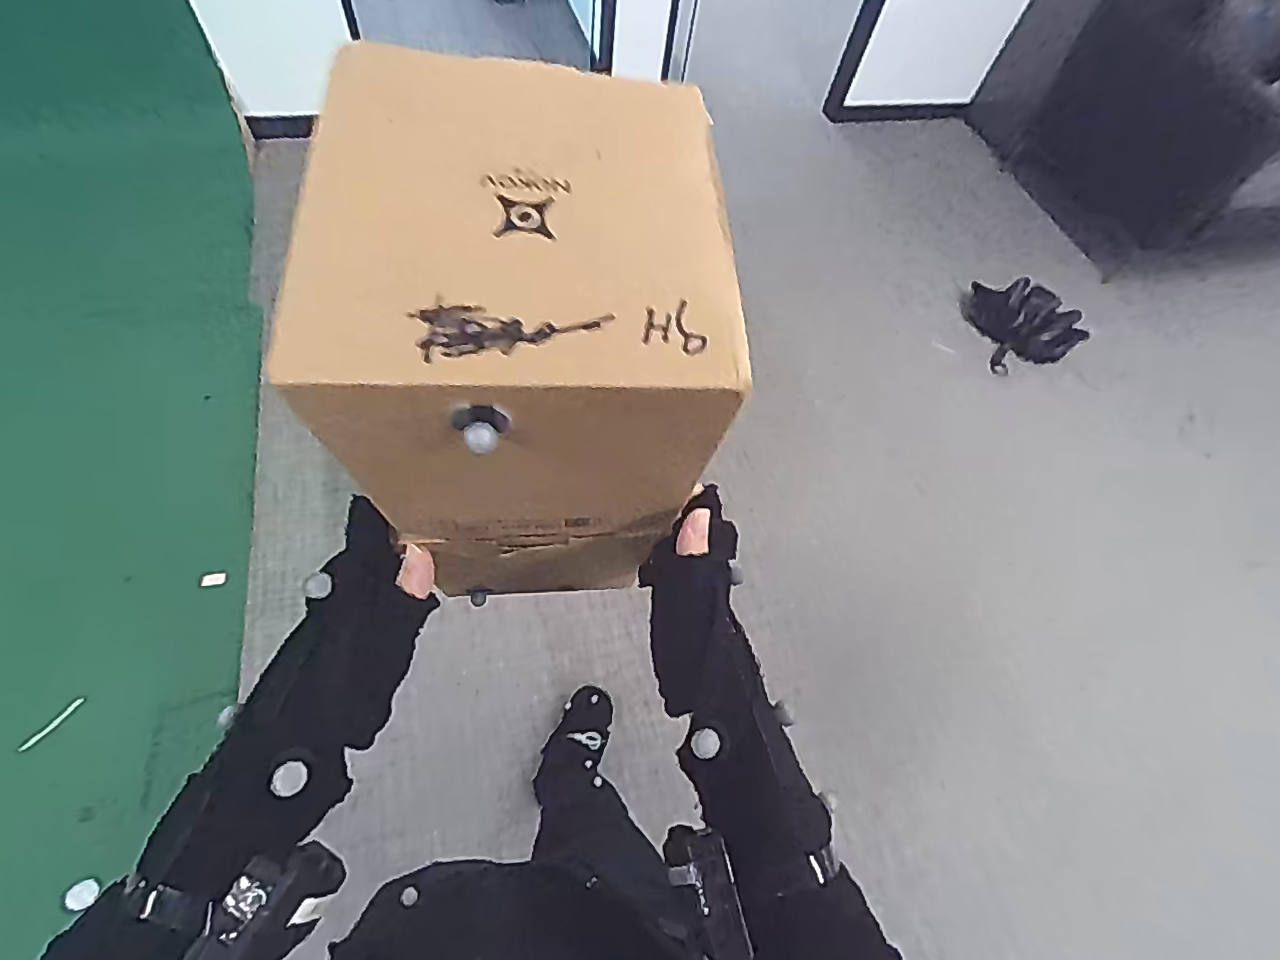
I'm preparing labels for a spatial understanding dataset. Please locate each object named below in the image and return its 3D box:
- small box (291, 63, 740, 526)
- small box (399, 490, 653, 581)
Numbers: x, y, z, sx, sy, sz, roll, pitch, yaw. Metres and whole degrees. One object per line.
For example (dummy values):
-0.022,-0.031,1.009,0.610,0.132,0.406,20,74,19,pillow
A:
-0.057,-0.084,0.304,0.168,0.176,0.179,-1,66,-9,small box
-0.085,-0.017,0.450,0.168,0.176,0.179,-1,66,-9,small box
